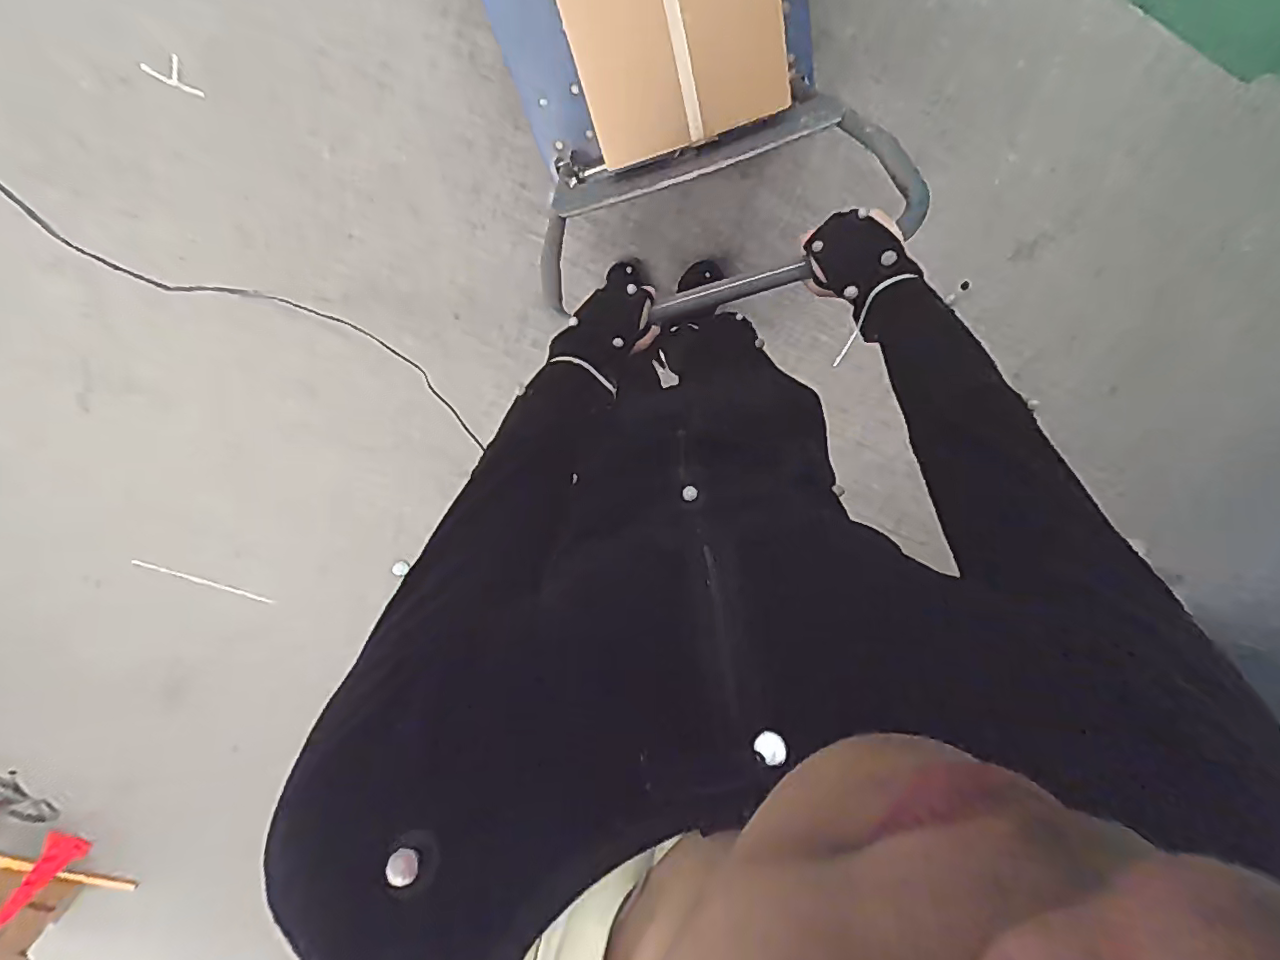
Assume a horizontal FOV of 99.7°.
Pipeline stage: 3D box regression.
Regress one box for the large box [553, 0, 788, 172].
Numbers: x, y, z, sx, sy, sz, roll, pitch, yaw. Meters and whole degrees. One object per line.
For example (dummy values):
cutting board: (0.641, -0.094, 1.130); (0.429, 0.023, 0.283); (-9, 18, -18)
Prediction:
large box: (0.031, -0.798, 0.888); (0.320, 0.320, 0.408); (-15, 128, 10)
